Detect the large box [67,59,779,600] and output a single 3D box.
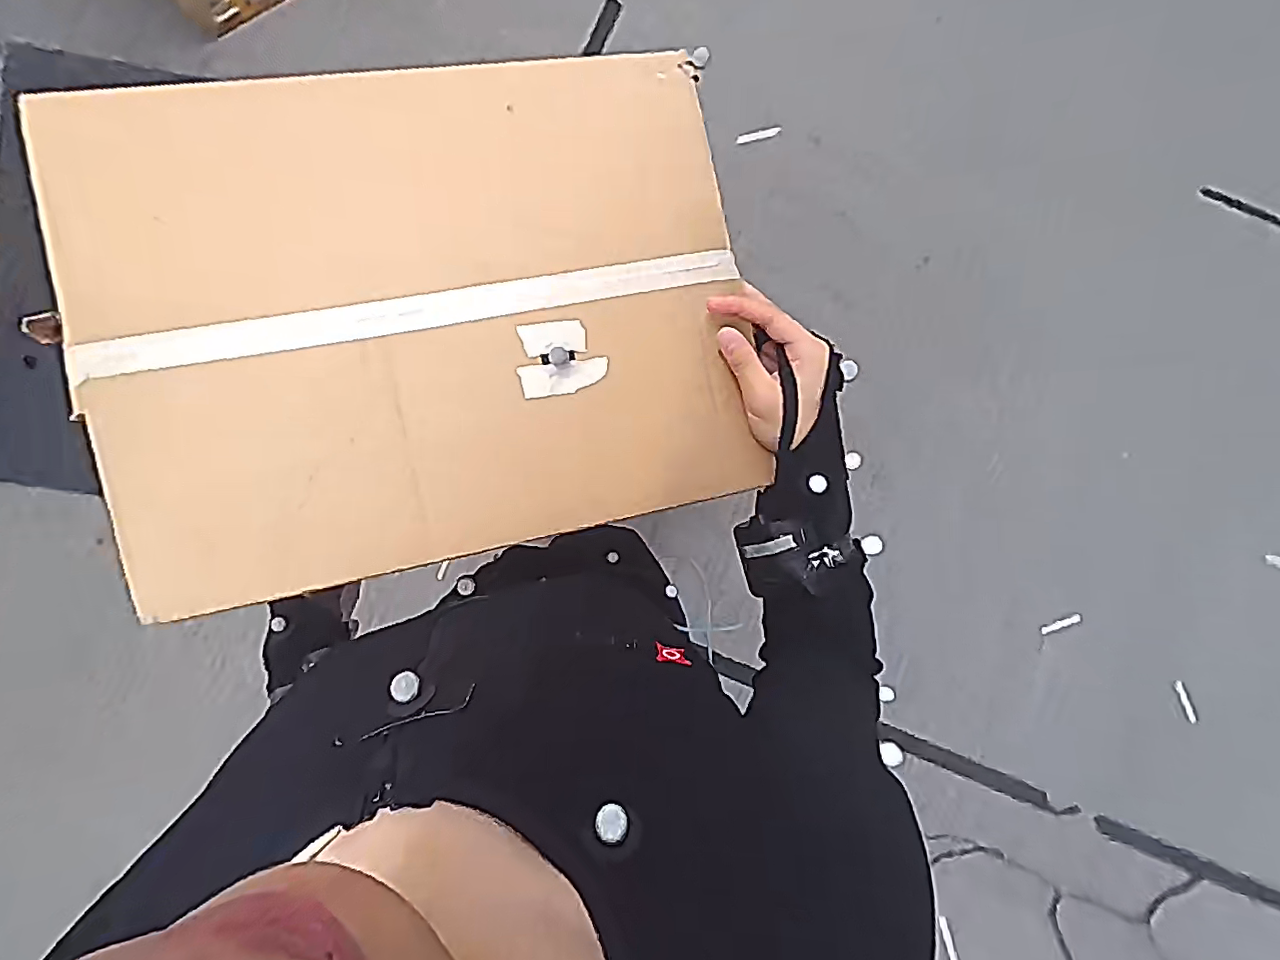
[{"bbox_3d":[-0.147,-0.111,0.500,0.408,0.320,0.320,-11,92,-11],"label":"large box"}]
